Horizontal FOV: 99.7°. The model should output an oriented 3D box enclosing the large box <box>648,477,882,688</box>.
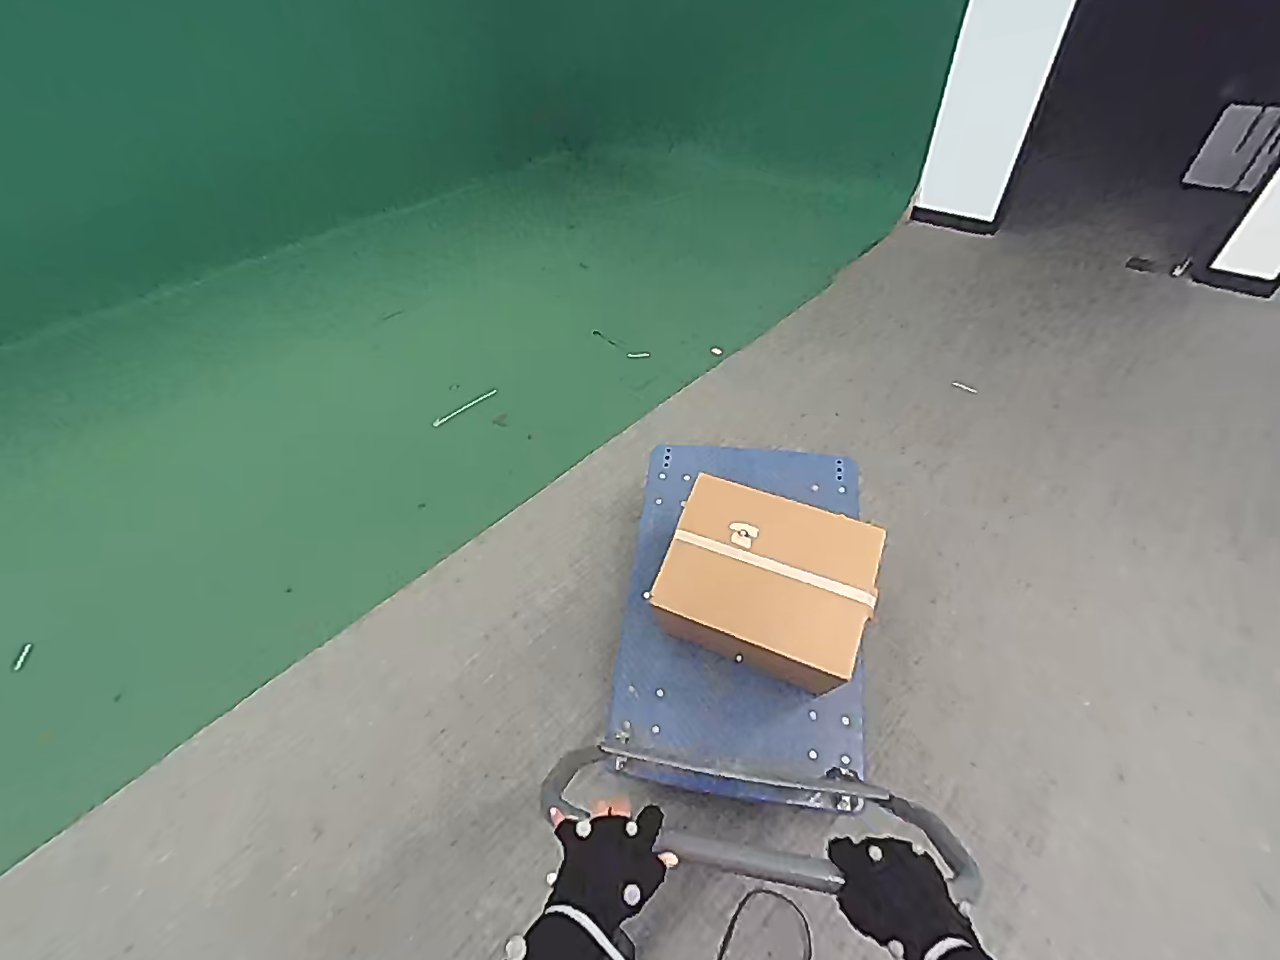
[{"bbox_3d":[0.277,0.240,1.224,0.408,0.320,0.320,18,68,17],"label":"large box"}]
